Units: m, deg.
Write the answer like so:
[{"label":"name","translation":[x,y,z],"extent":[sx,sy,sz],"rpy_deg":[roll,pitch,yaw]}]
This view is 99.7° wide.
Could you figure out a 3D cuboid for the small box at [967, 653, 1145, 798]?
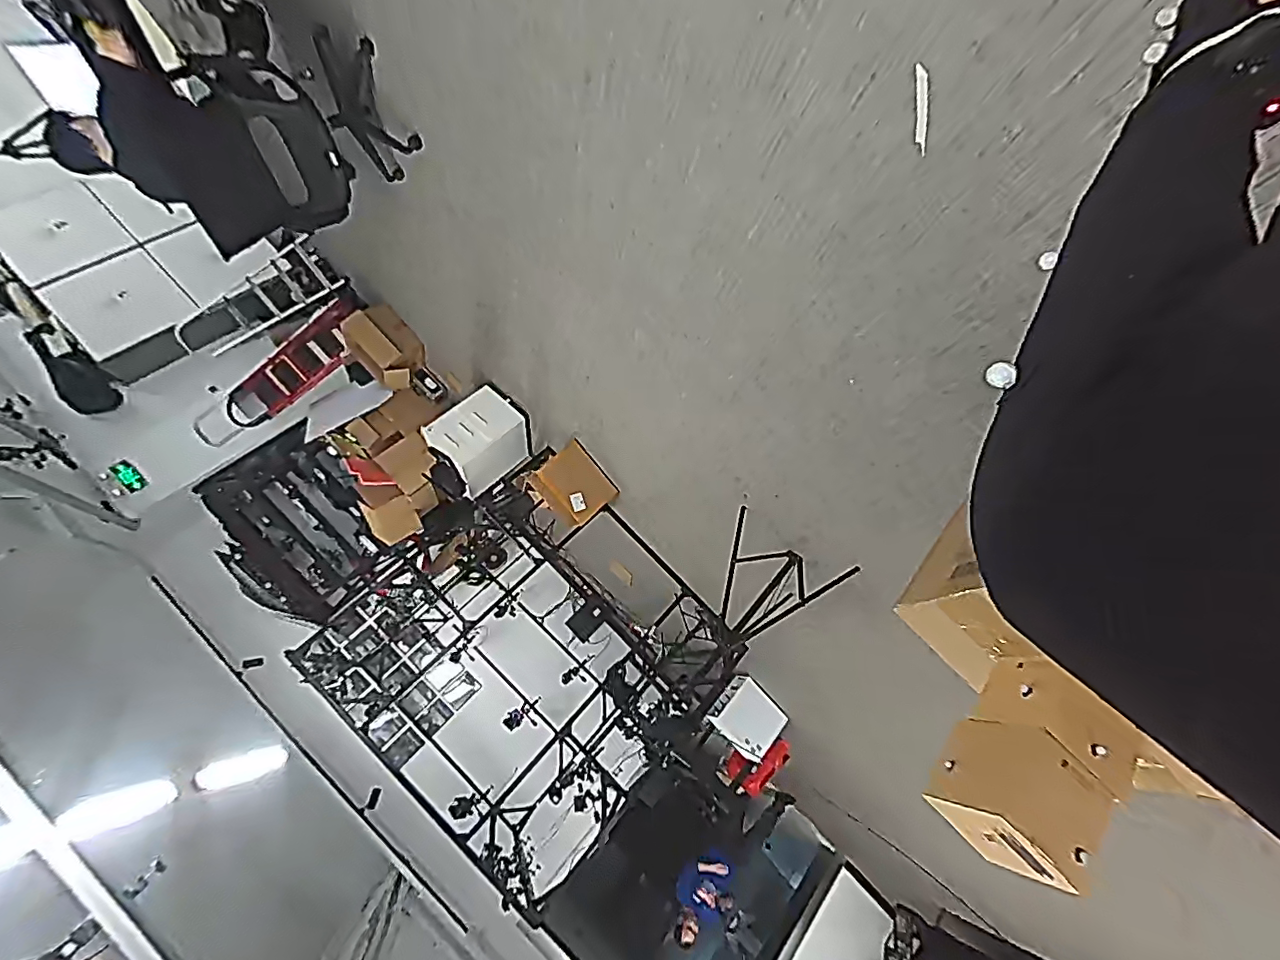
[{"label":"small box","translation":[0.752,0.431,0.984],"extent":[0.179,0.176,0.168],"rpy_deg":[44,155,4]}]
